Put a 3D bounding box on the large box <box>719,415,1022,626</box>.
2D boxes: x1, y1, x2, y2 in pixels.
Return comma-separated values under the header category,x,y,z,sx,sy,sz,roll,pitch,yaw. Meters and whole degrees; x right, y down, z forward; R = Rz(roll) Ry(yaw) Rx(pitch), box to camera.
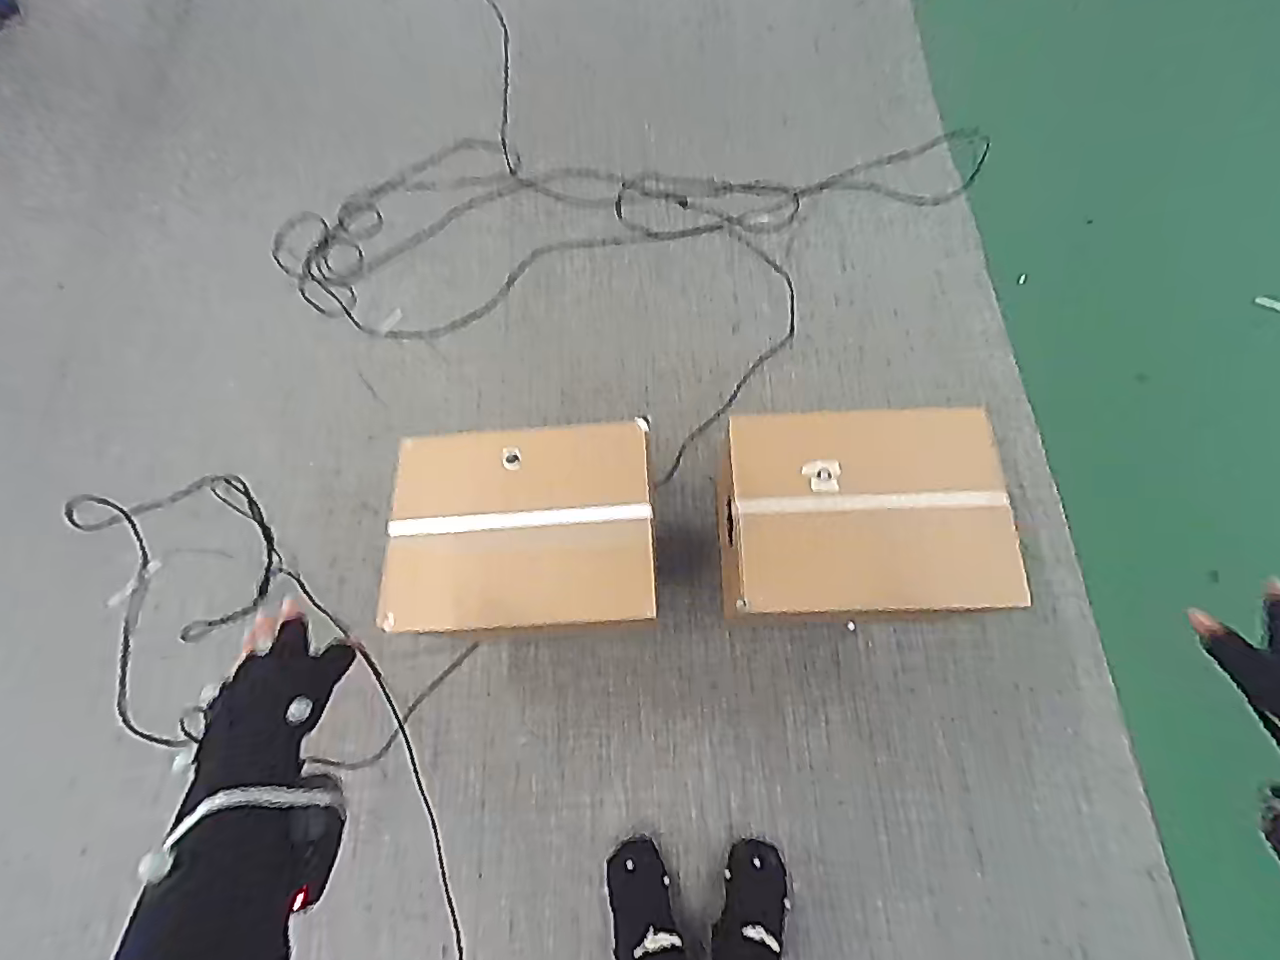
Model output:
category,x,y,z,sx,sy,sz,roll,pitch,yaw
large box,0.361,0.094,0.973,0.408,0.320,0.320,-2,71,3
